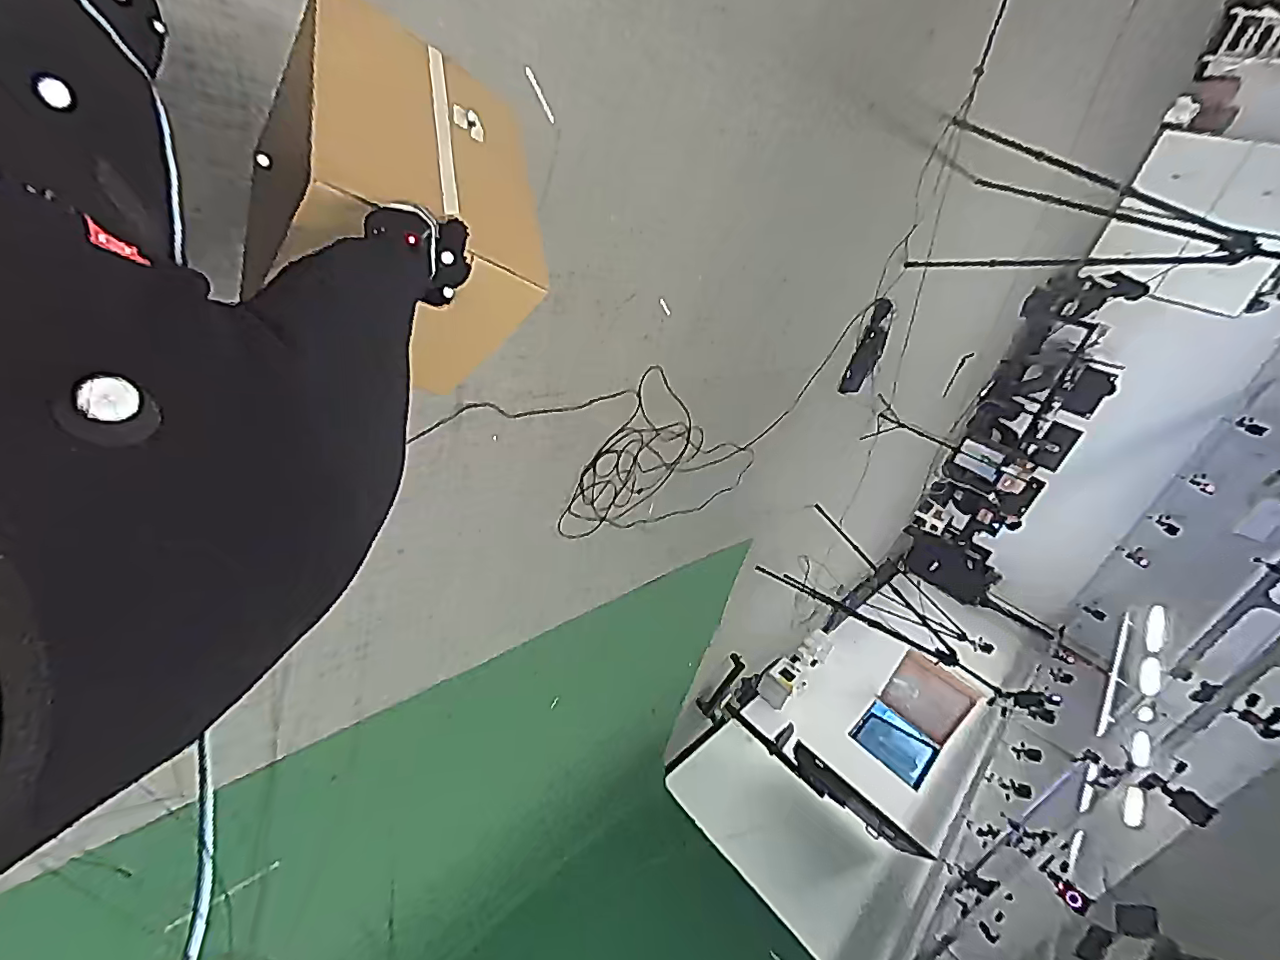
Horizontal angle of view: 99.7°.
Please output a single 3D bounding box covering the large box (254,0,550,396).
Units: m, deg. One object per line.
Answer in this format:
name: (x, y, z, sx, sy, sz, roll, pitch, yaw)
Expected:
large box: (-0.382, -0.400, 0.847, 0.320, 0.408, 0.320, -31, 151, 36)
